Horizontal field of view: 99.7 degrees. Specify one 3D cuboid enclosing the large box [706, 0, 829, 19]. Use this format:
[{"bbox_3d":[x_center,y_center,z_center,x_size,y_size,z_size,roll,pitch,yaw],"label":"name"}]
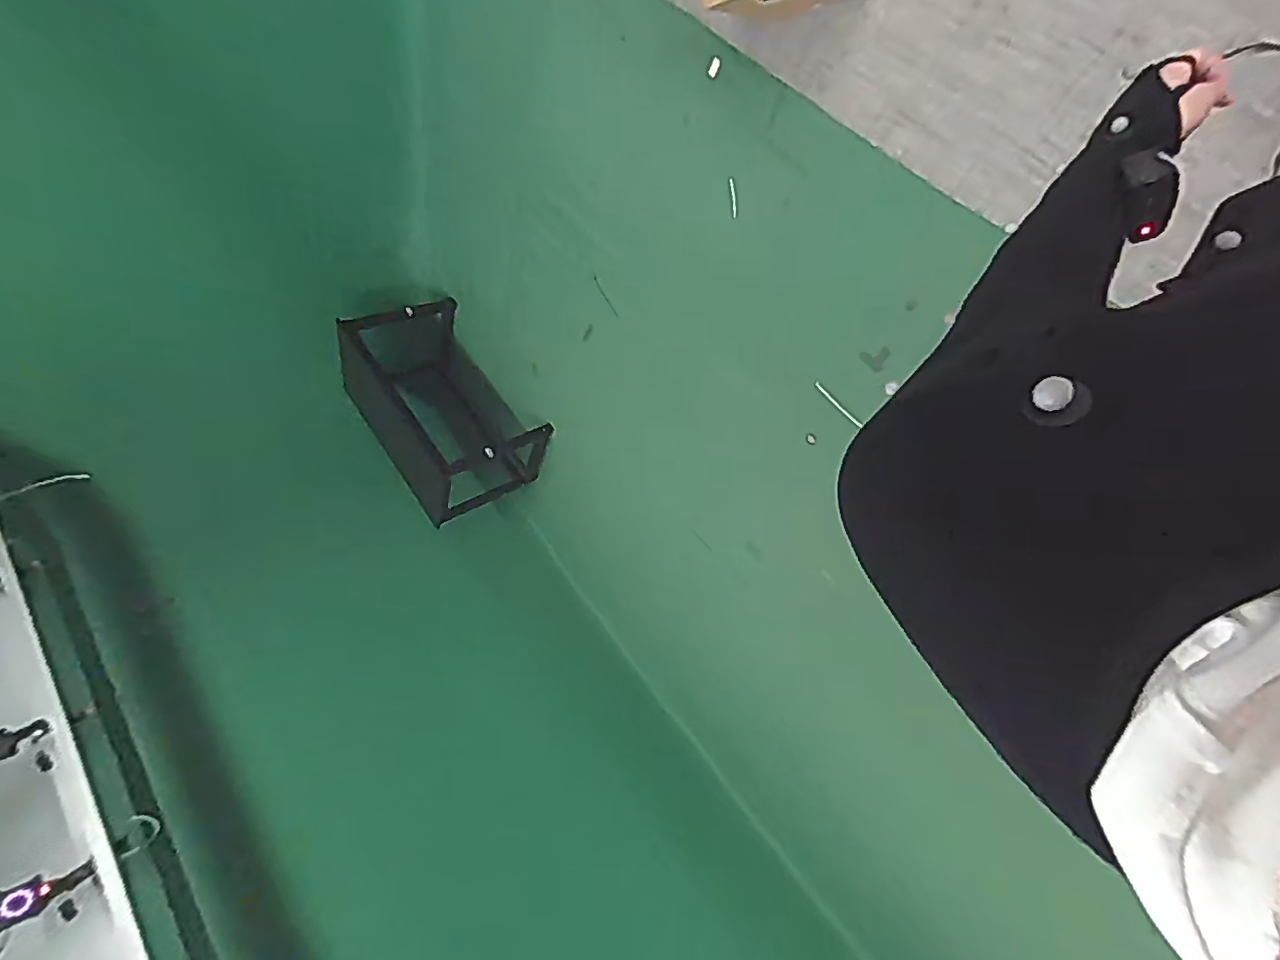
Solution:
[{"bbox_3d":[0.352,-1.364,1.236,0.320,0.320,0.408,22,130,43],"label":"large box"}]
